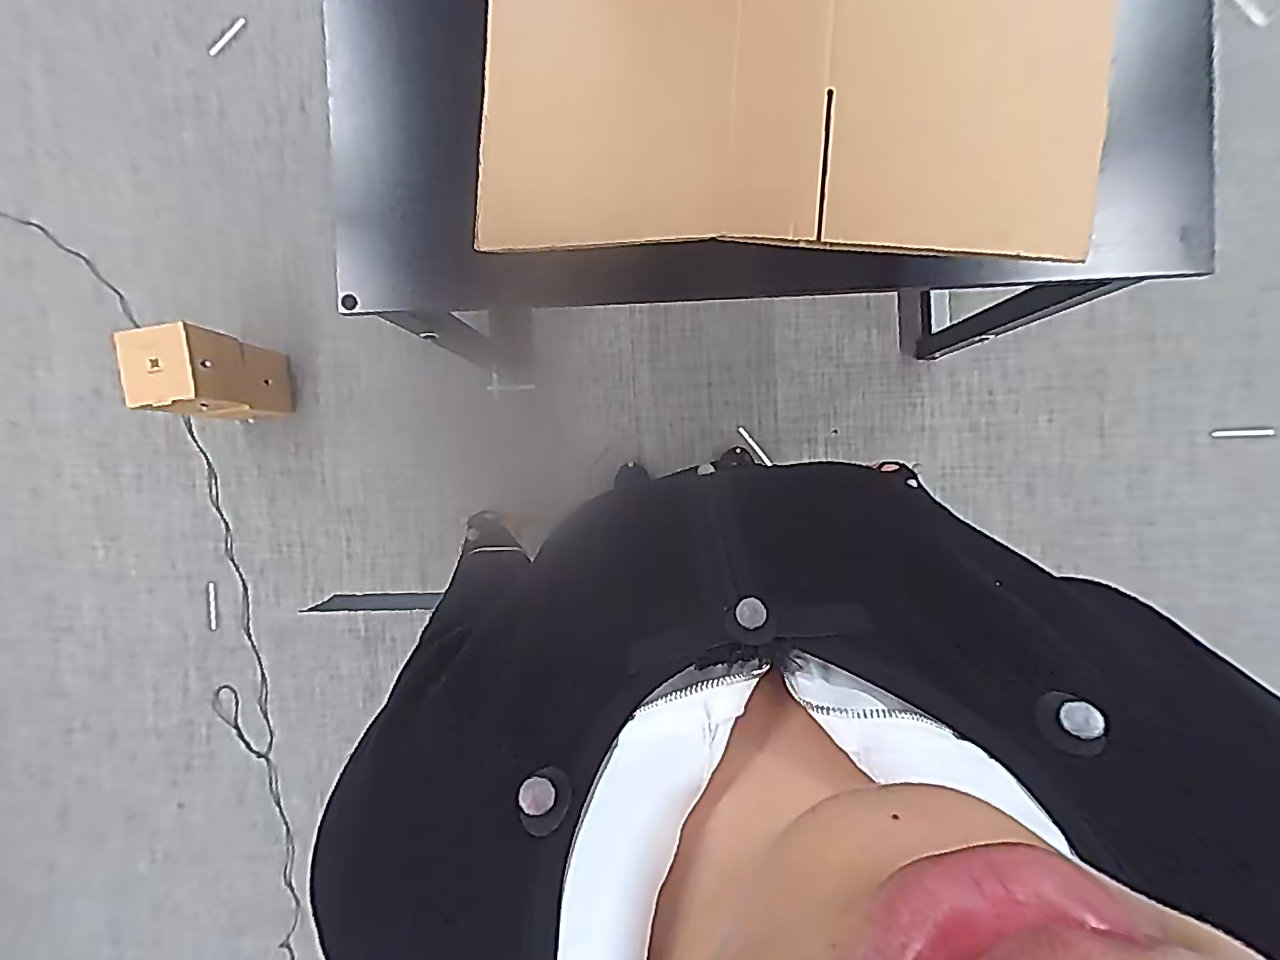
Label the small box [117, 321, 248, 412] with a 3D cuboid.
[{"bbox_3d":[-1.083,-0.262,1.296,0.168,0.176,0.179,-9,91,2],"label":"small box"}]

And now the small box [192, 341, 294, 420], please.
[{"bbox_3d":[-1.074,-0.263,1.459,0.168,0.176,0.179,-6,93,3],"label":"small box"}]
